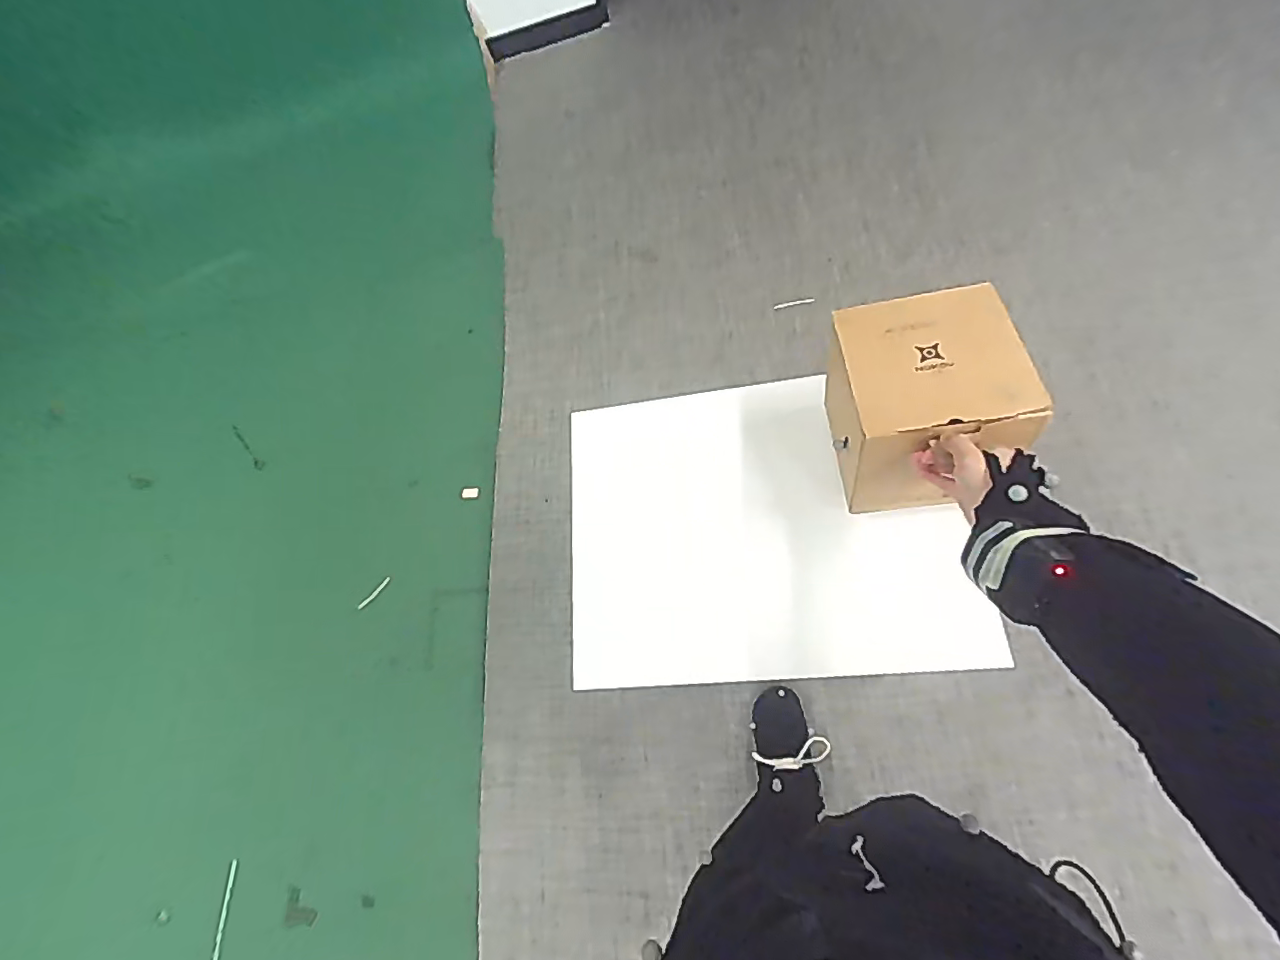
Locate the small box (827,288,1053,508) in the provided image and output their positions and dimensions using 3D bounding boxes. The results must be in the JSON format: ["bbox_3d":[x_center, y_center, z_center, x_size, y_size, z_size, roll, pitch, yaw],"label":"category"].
[{"bbox_3d":[0.312,-0.079,0.609,0.168,0.176,0.179,-7,57,11],"label":"small box"}]
